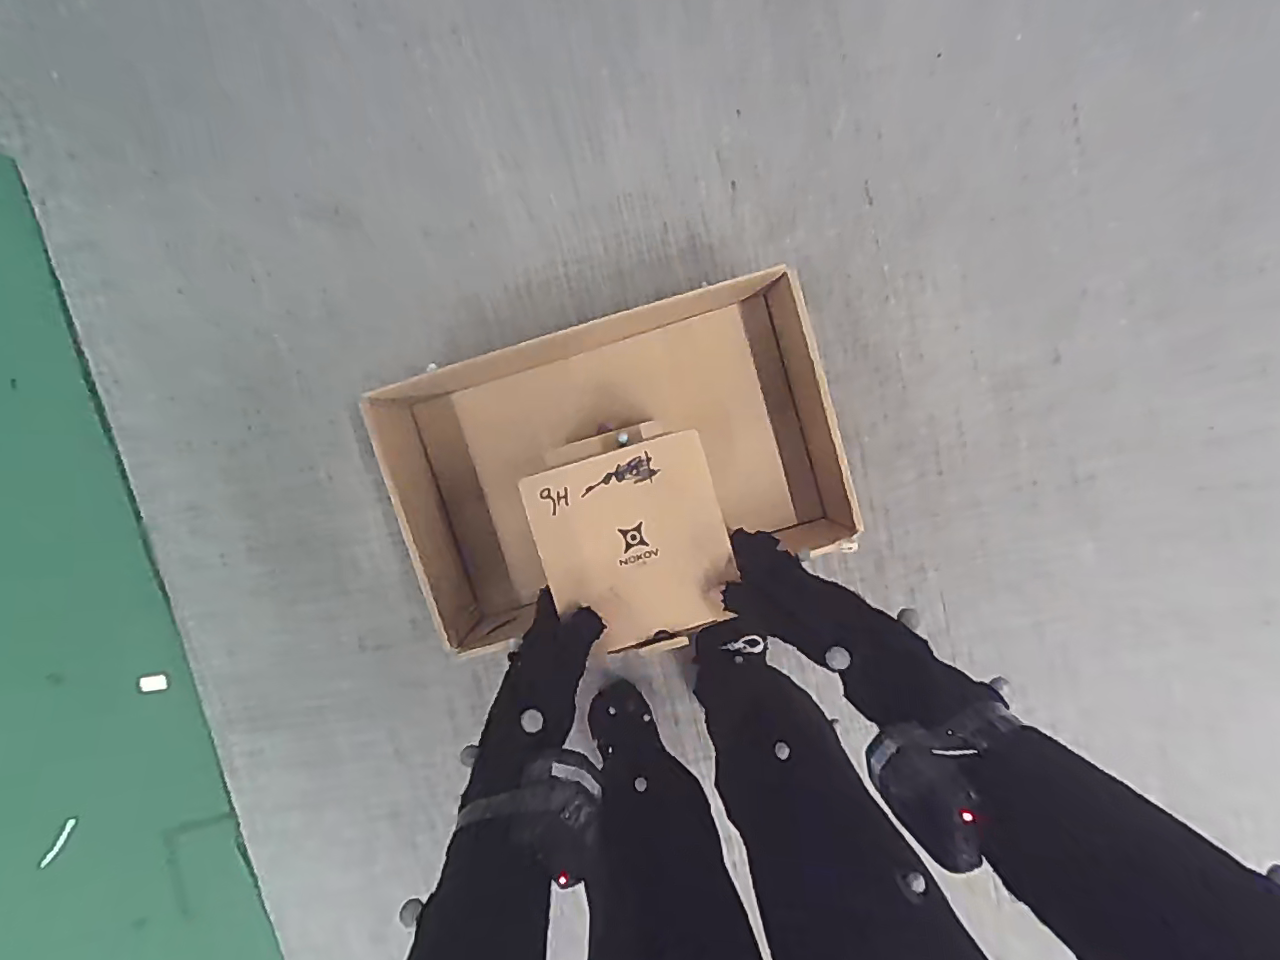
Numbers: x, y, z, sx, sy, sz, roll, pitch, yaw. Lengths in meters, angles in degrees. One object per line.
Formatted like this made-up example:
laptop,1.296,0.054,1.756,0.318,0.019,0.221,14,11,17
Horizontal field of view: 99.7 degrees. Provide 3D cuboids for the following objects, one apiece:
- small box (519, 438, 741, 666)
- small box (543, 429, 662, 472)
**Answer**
small box,-0.009,0.059,0.562,0.168,0.176,0.179,-16,95,-2
small box,-0.030,0.028,0.803,0.168,0.176,0.179,-15,94,1
